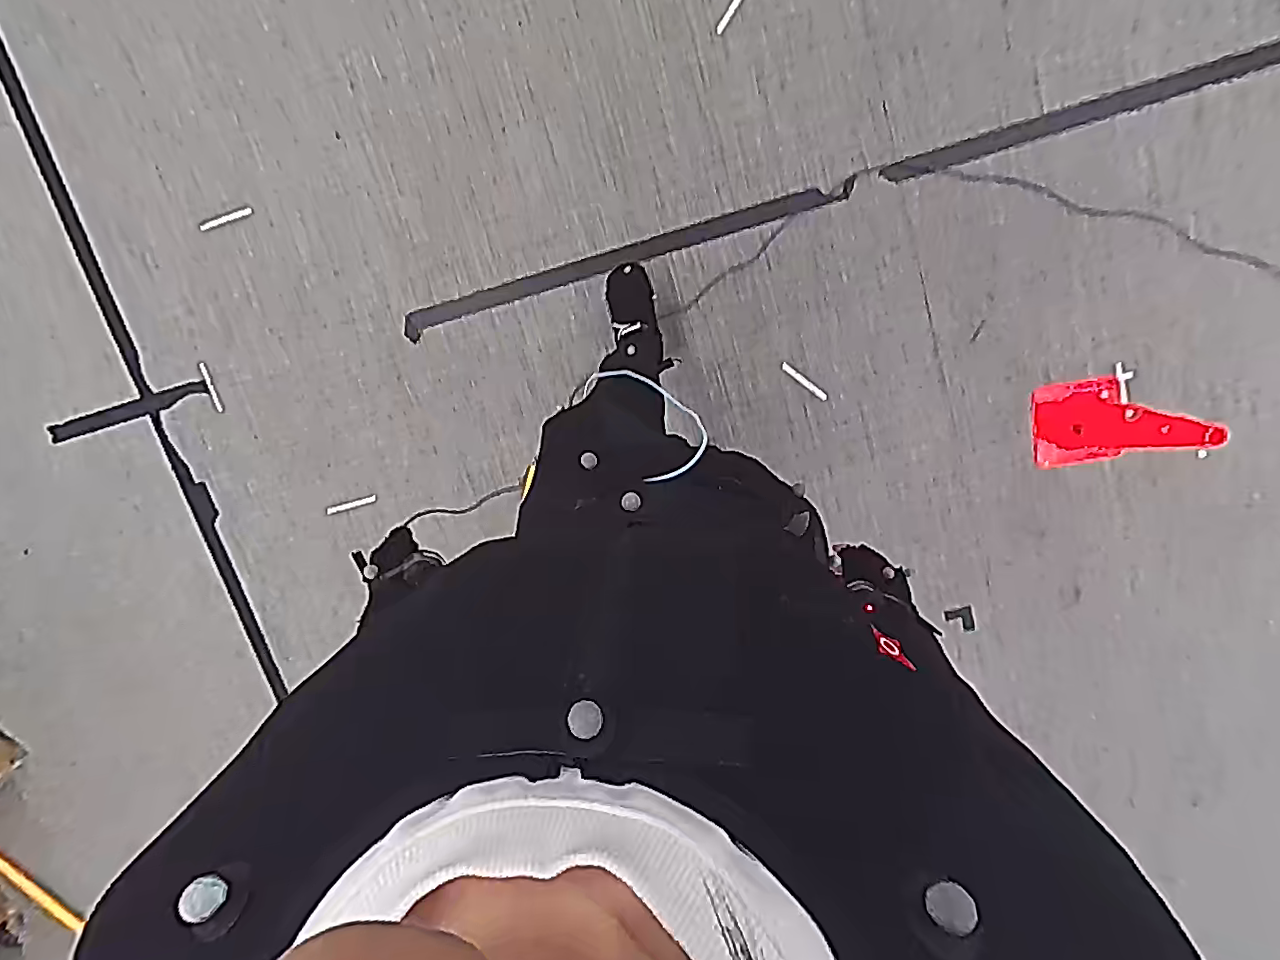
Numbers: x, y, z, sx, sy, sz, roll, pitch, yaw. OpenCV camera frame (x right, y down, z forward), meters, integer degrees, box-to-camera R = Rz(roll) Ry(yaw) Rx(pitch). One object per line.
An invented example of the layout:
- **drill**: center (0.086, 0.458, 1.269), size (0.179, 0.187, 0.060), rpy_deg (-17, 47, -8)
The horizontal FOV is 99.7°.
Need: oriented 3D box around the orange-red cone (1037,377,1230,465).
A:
- **orange-red cone**: center (1.047, -0.111, 1.134), size (0.199, 0.360, 0.198), rpy_deg (-8, 99, 7)
